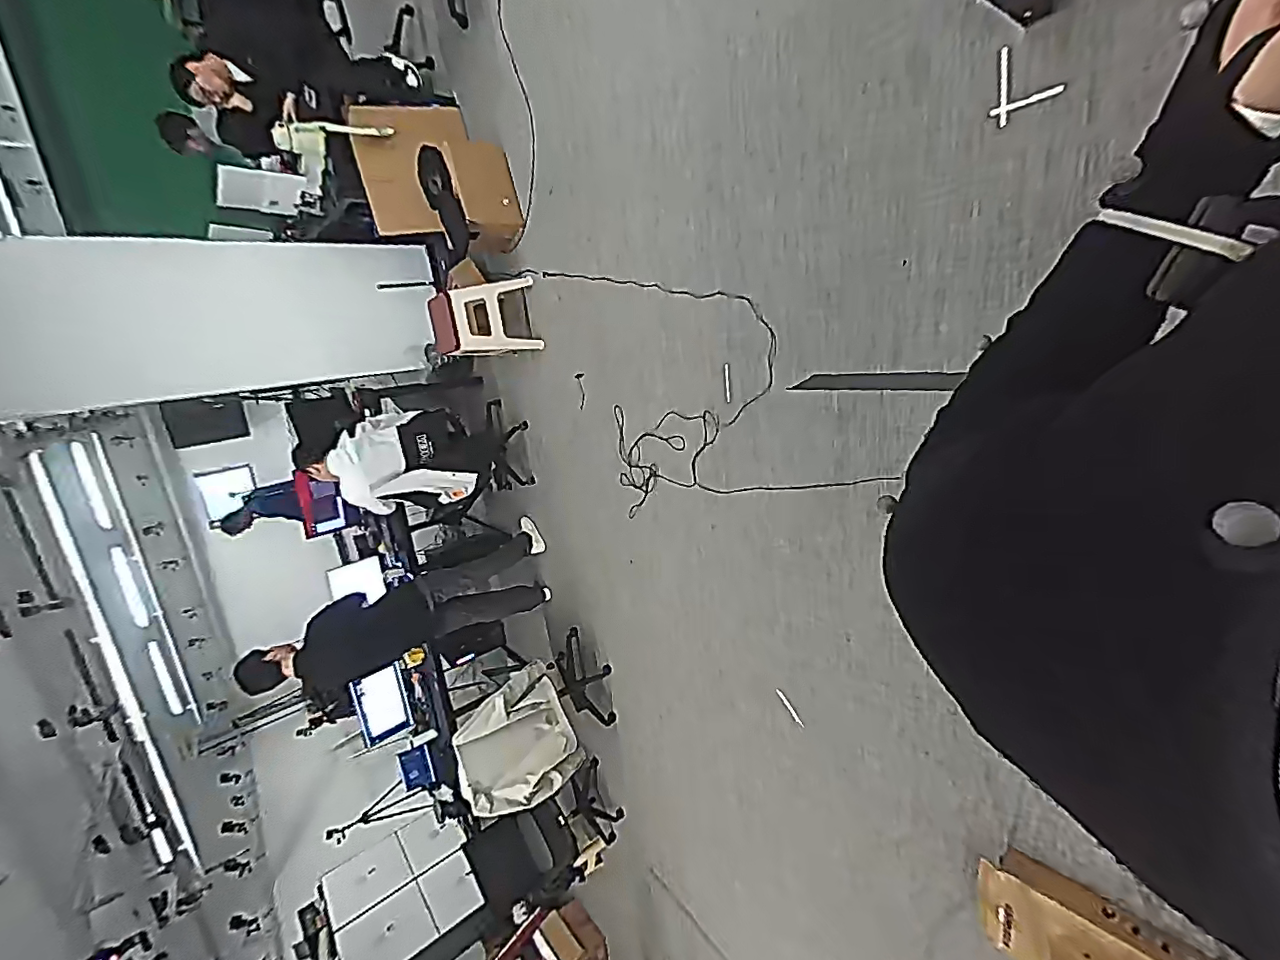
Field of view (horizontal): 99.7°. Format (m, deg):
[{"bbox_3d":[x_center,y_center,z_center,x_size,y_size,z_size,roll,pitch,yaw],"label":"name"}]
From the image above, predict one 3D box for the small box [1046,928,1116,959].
[{"bbox_3d":[1.135,1.312,1.368,0.168,0.176,0.179,10,113,51],"label":"small box"}]
